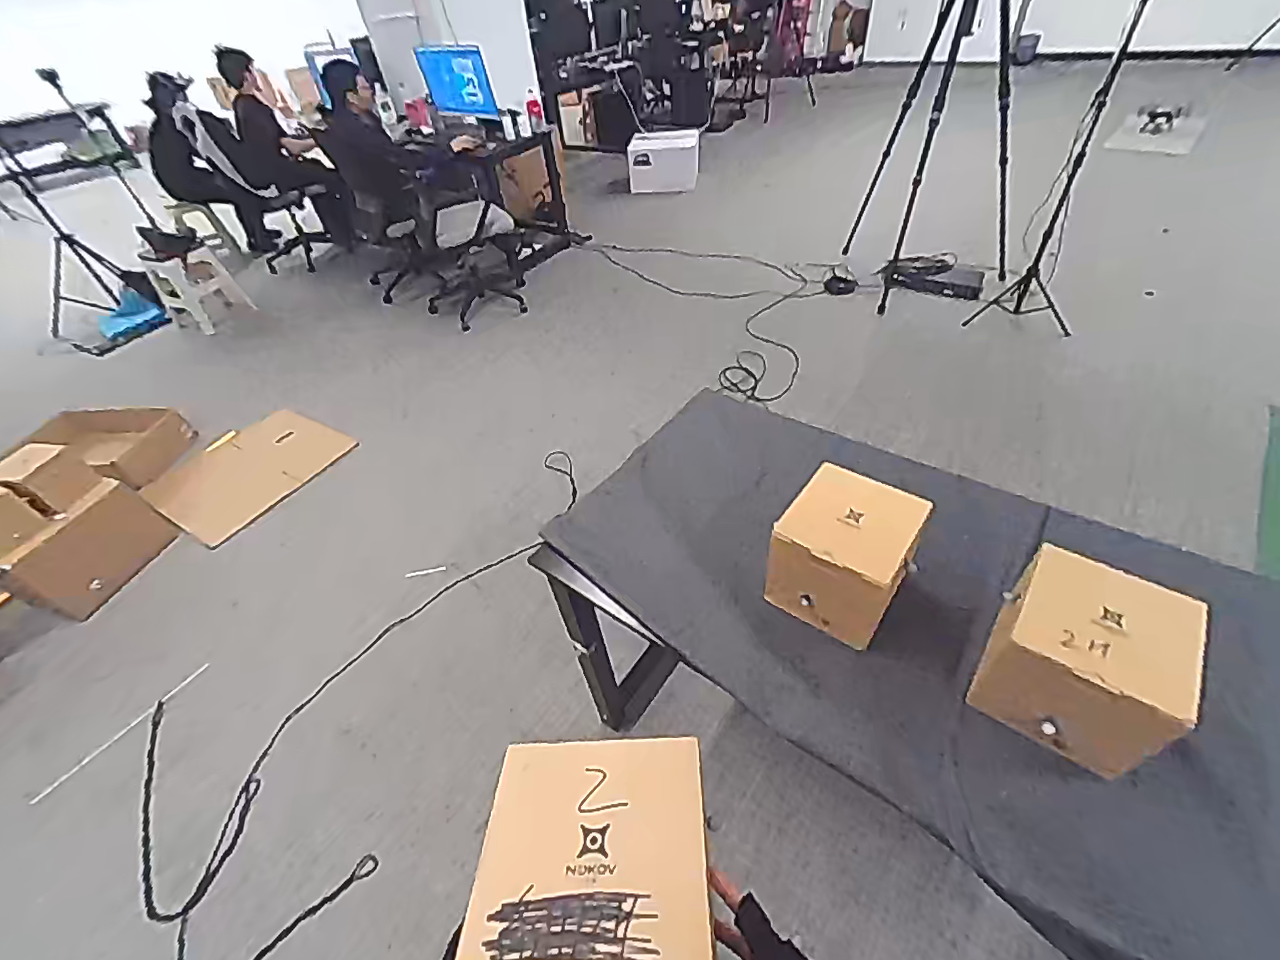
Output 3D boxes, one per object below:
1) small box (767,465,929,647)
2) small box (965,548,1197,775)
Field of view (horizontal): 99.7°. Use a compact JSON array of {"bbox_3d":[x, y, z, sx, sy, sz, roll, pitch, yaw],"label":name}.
[{"bbox_3d":[0.307,0.115,0.826,0.168,0.176,0.179,27,53,29],"label":"small box"},{"bbox_3d":[0.543,0.226,0.683,0.168,0.176,0.179,26,53,29],"label":"small box"}]
